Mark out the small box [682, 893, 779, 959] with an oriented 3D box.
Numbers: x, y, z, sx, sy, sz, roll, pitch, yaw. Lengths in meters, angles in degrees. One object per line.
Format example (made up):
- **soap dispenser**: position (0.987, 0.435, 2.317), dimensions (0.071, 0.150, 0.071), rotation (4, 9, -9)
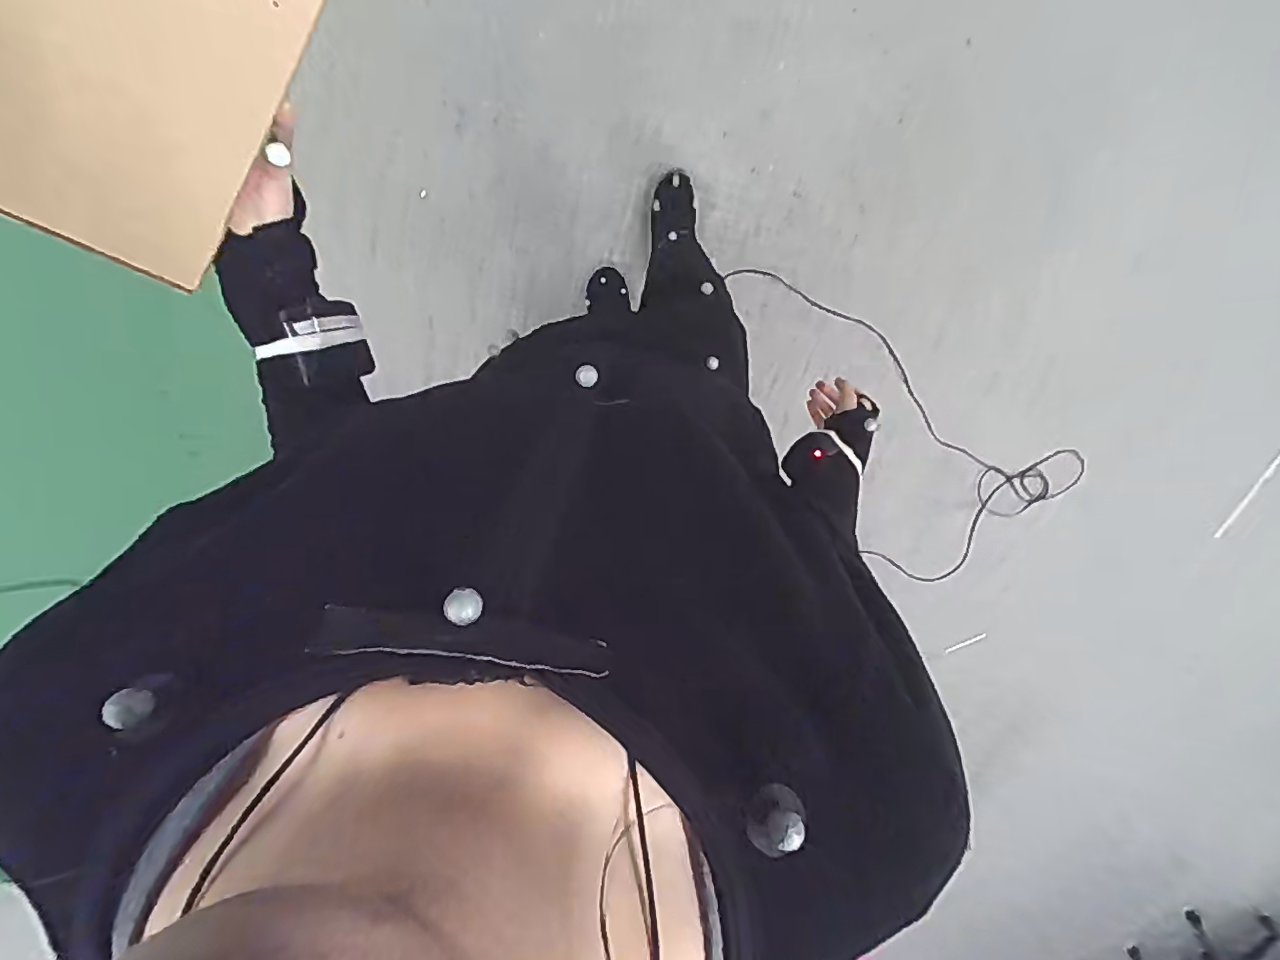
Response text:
- **small box**: position (0.197, 1.037, 1.172), dimensions (0.179, 0.176, 0.168), rotation (12, 114, -4)
